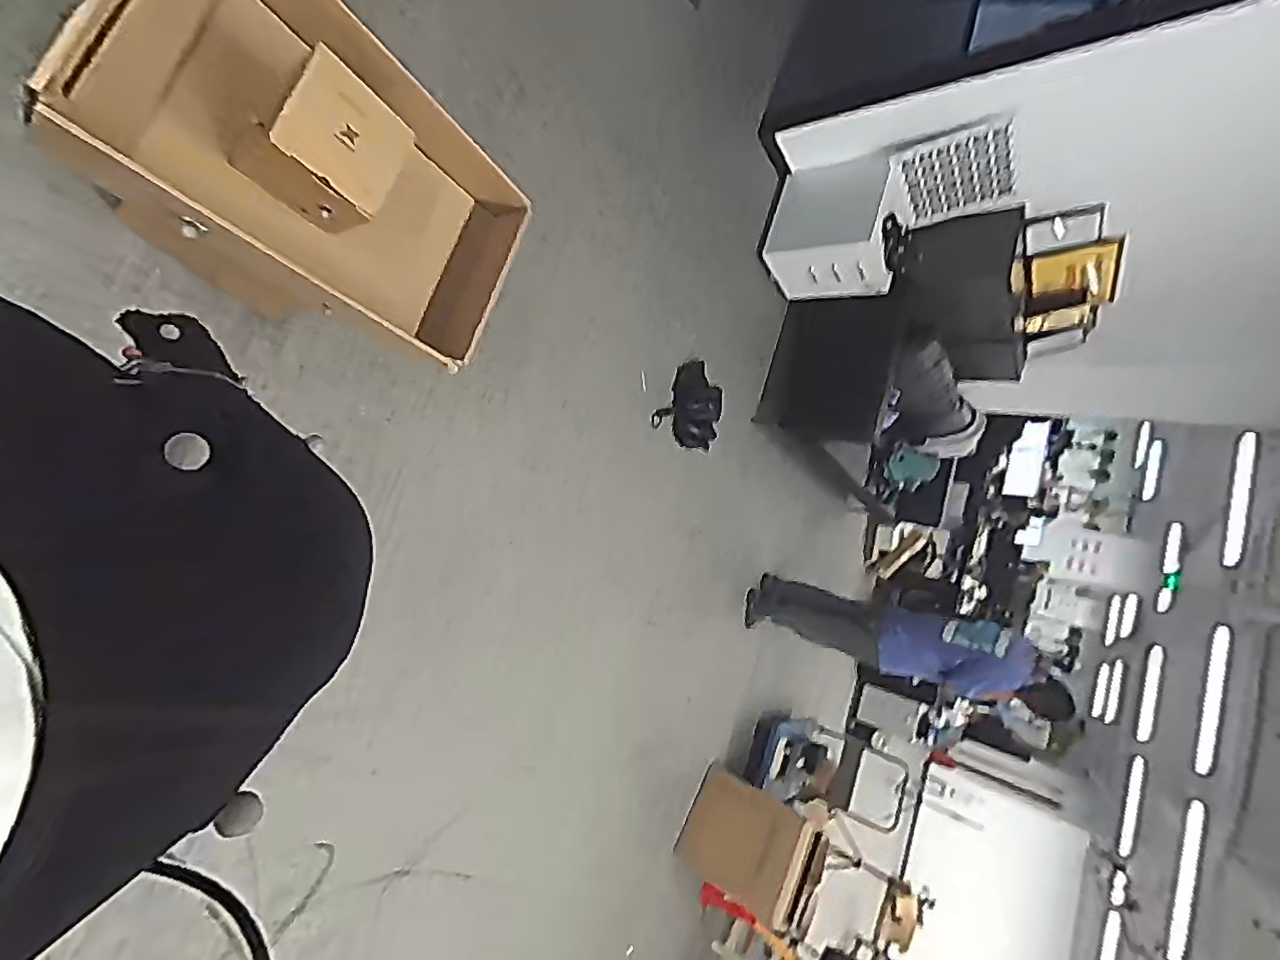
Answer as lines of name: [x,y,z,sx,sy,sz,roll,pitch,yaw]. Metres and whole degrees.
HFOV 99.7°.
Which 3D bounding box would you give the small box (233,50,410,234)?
small box: [-0.516,-0.528,0.874,0.168,0.176,0.179,33,70,-52]
